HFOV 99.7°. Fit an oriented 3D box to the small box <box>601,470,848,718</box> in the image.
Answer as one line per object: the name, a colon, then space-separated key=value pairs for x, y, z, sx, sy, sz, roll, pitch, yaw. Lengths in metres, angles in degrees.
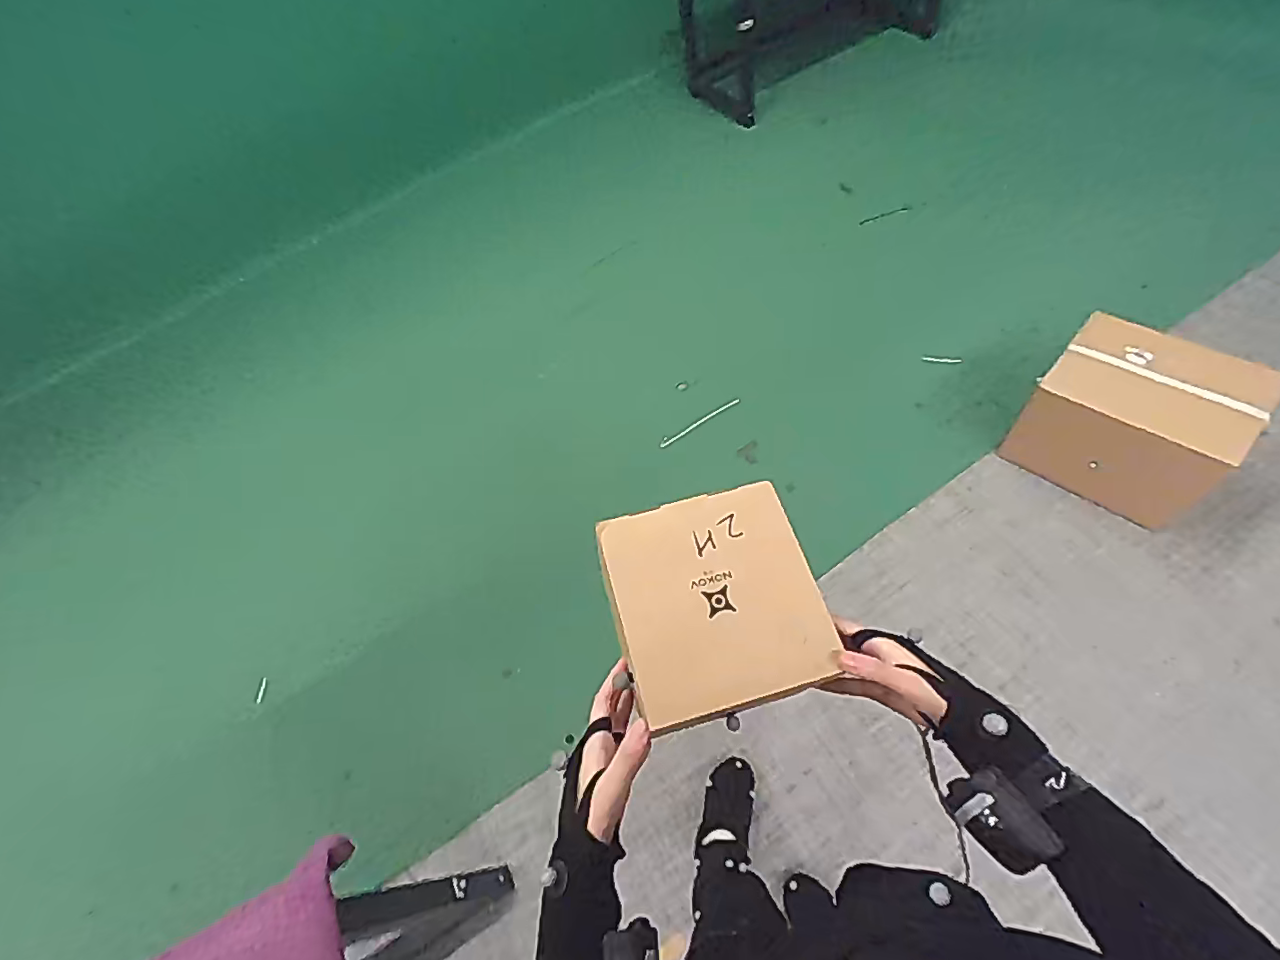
small box: x=0.063 y=0.118 z=0.514 sx=0.168 sy=0.176 sz=0.179 roll=-12 pitch=63 yaw=-8

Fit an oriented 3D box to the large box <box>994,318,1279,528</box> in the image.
large box: x=1.244 y=-0.148 z=1.405 sx=0.408 sy=0.320 sz=0.320 roll=36 pitch=71 yaw=30
